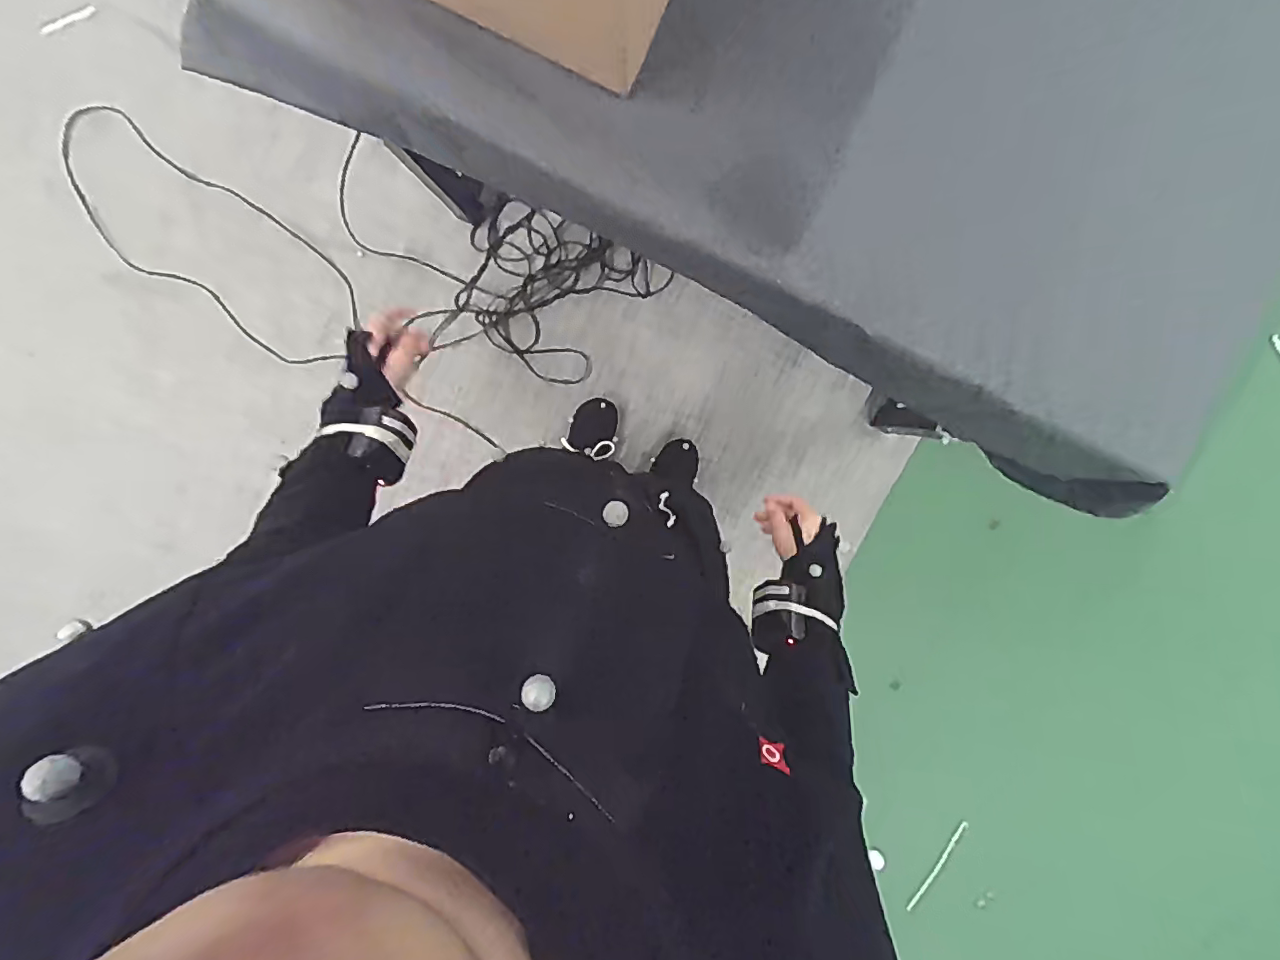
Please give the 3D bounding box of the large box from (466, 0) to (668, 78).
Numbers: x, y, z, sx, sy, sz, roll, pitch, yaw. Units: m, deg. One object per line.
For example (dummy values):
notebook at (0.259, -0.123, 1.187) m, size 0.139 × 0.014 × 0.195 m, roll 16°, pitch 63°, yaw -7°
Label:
large box at (-0.122, -0.612, 0.393) m, size 0.408 × 0.320 × 0.320 m, roll 23°, pitch 98°, yaw -5°
